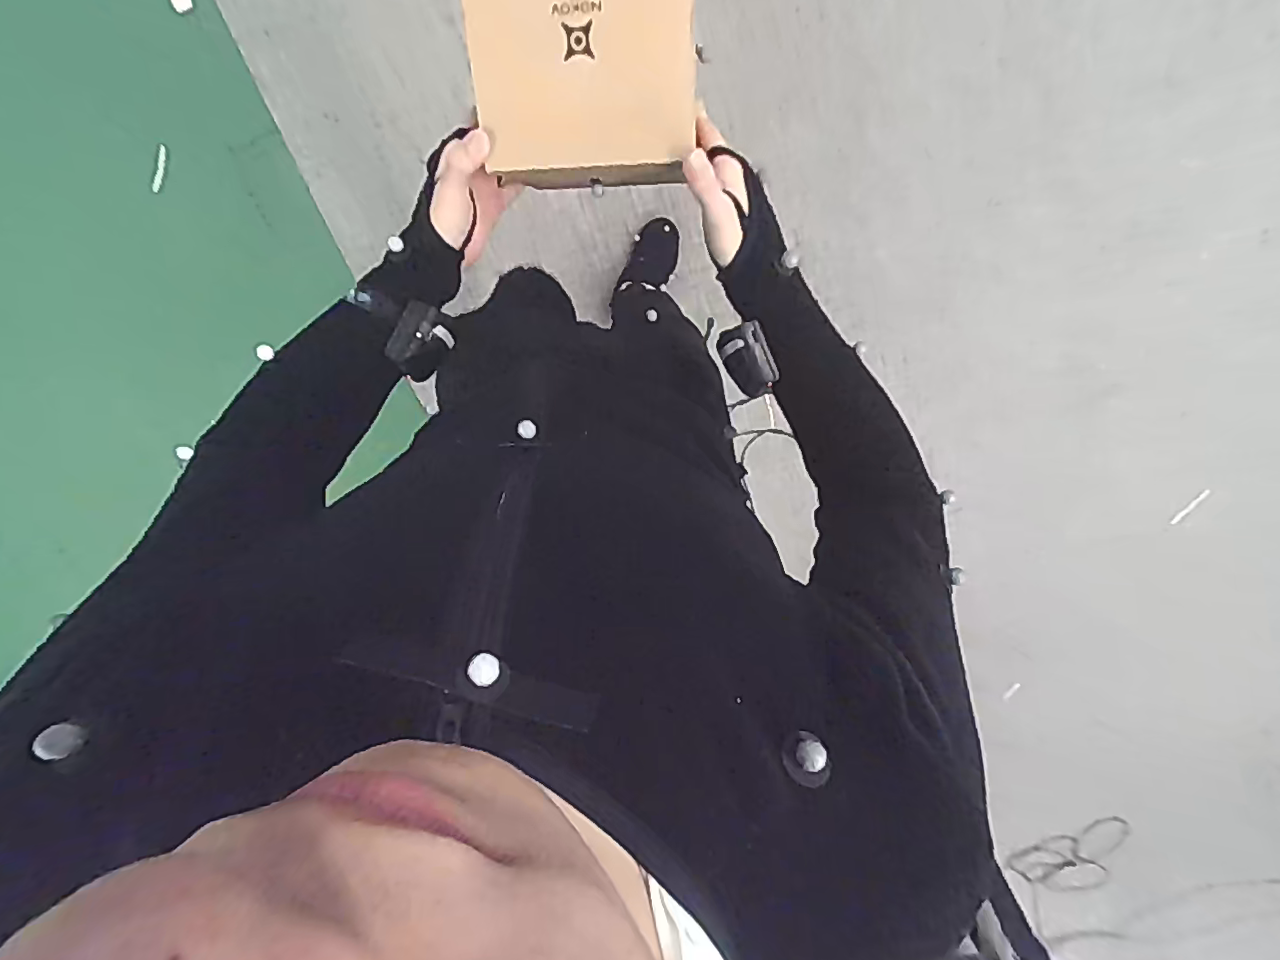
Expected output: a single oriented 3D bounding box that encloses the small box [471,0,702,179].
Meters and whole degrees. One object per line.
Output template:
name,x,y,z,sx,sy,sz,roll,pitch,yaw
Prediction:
small box,-0.032,-0.360,0.455,0.168,0.176,0.179,-1,113,5
